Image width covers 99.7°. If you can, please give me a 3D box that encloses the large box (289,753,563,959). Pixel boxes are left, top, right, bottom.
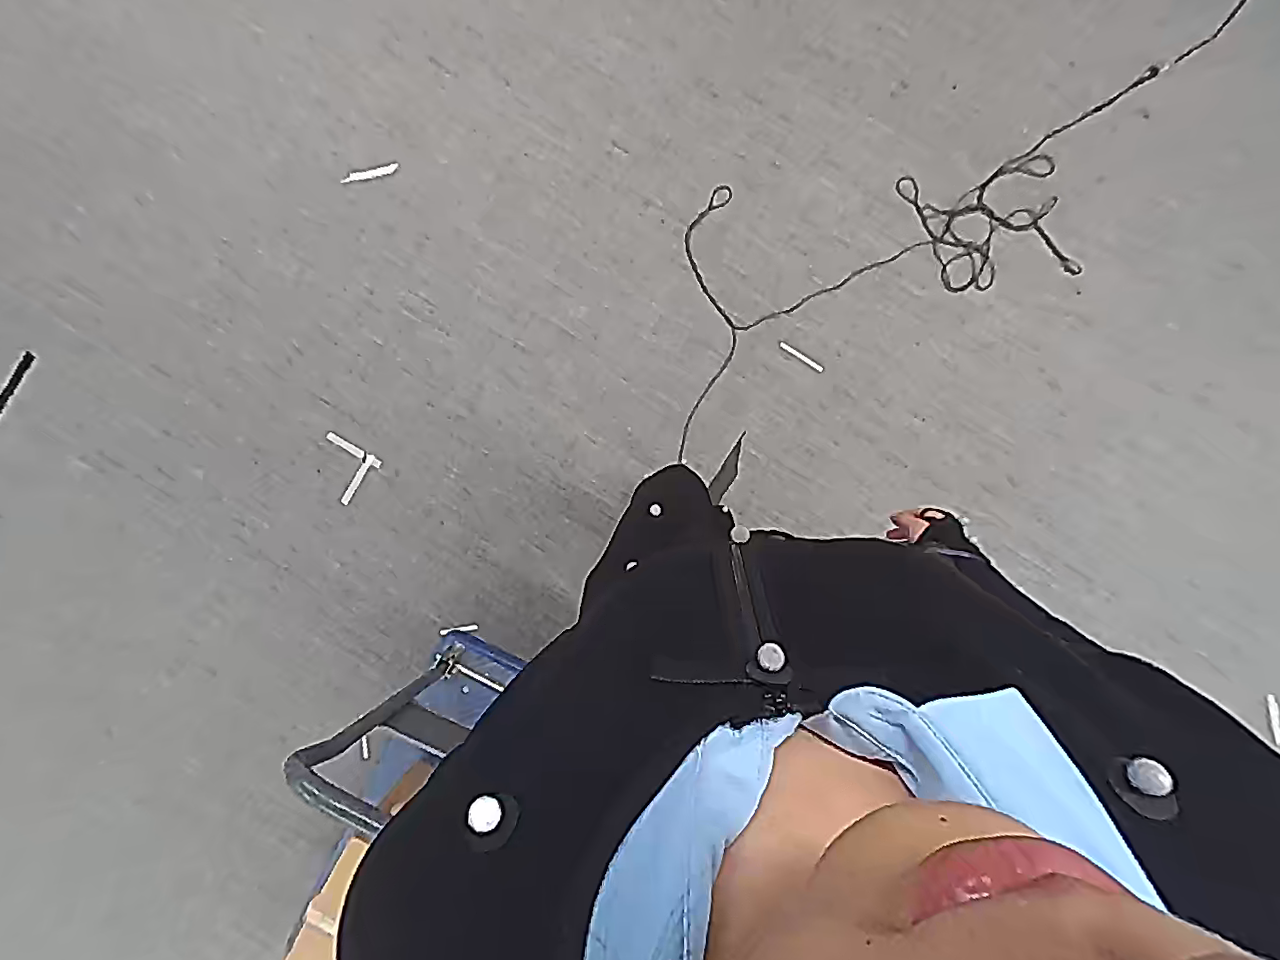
[{"bbox_3d":[-0.428,0.878,1.172,0.408,0.320,0.320,28,89,1],"label":"large box"}]
